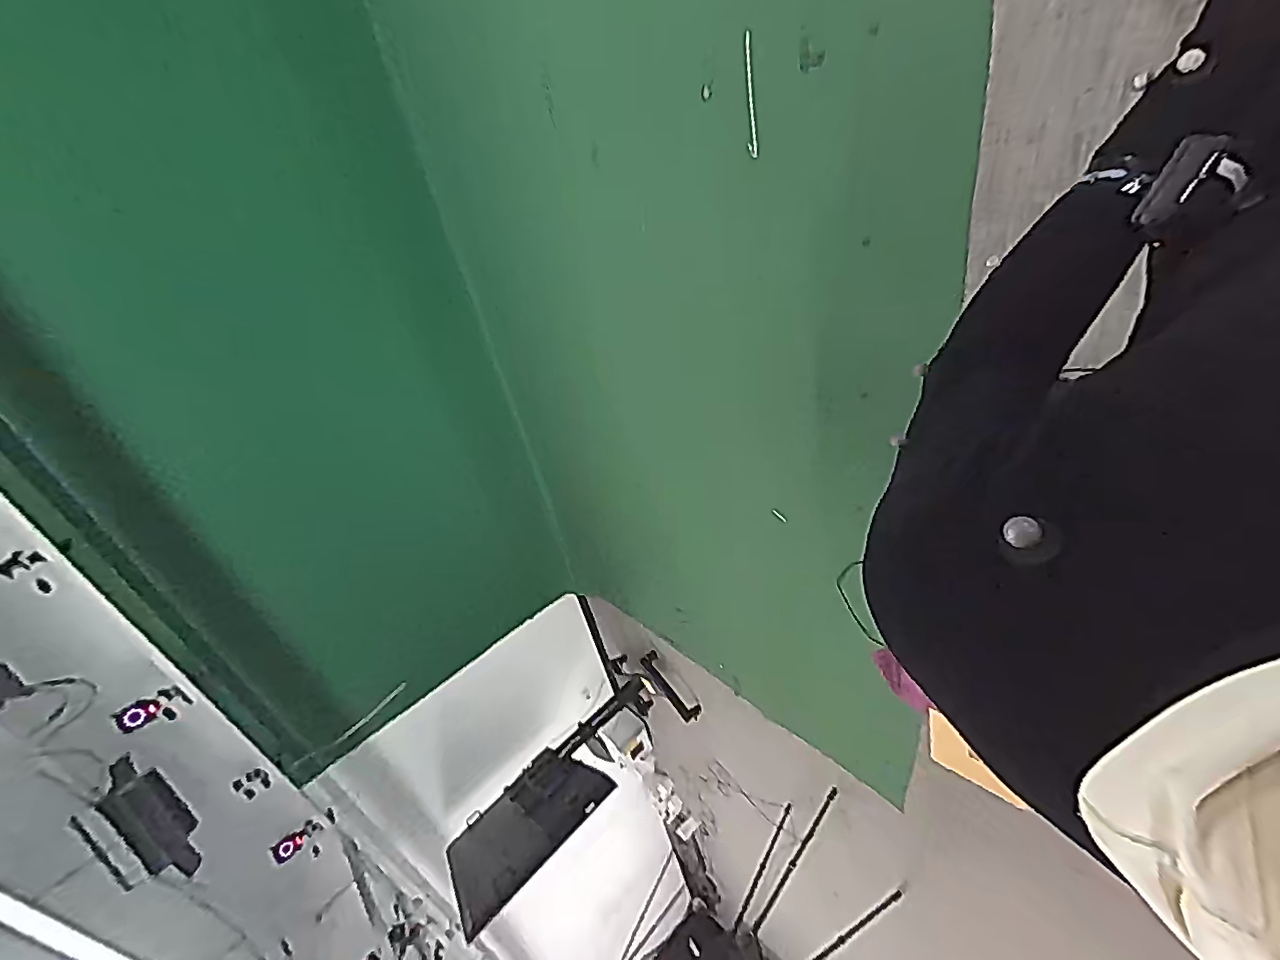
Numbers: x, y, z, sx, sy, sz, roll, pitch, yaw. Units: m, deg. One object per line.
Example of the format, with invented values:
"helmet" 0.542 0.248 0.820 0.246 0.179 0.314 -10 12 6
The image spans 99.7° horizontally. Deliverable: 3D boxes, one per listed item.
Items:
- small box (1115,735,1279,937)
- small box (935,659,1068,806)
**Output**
"small box" 0.904 0.551 0.867 0.168 0.176 0.179 -2 118 57
"small box" 0.721 0.491 1.084 0.179 0.176 0.168 15 131 48
